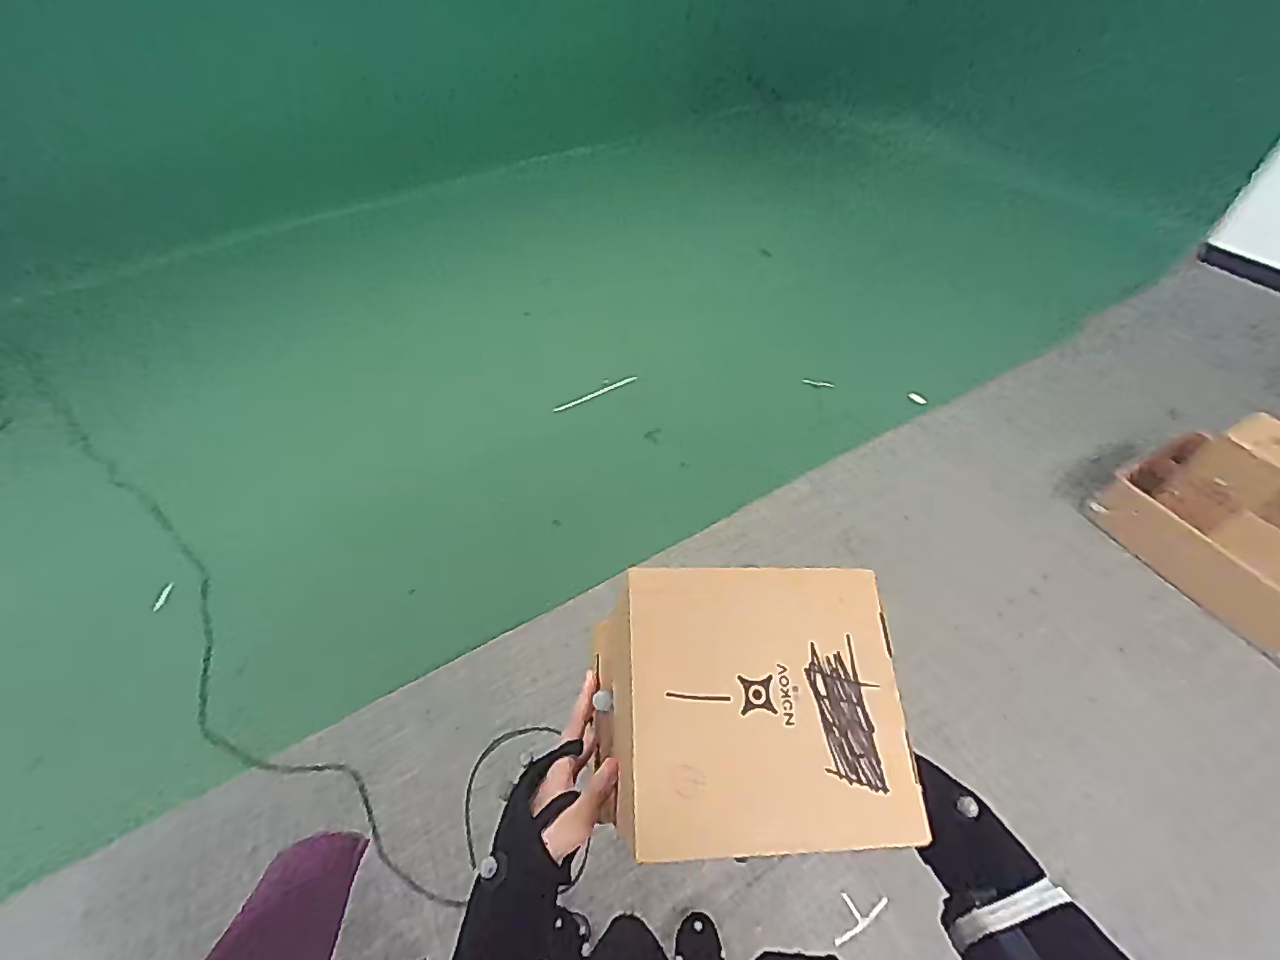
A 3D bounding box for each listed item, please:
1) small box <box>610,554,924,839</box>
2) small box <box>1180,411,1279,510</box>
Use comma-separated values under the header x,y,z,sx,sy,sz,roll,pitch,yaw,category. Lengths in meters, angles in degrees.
x,y,z,sx,sy,sz,roll,pitch,yaw,category
0.073,0.163,0.412,0.179,0.176,0.168,3,64,-5,small box
1.646,-0.051,1.466,0.179,0.176,0.168,-23,52,-13,small box
